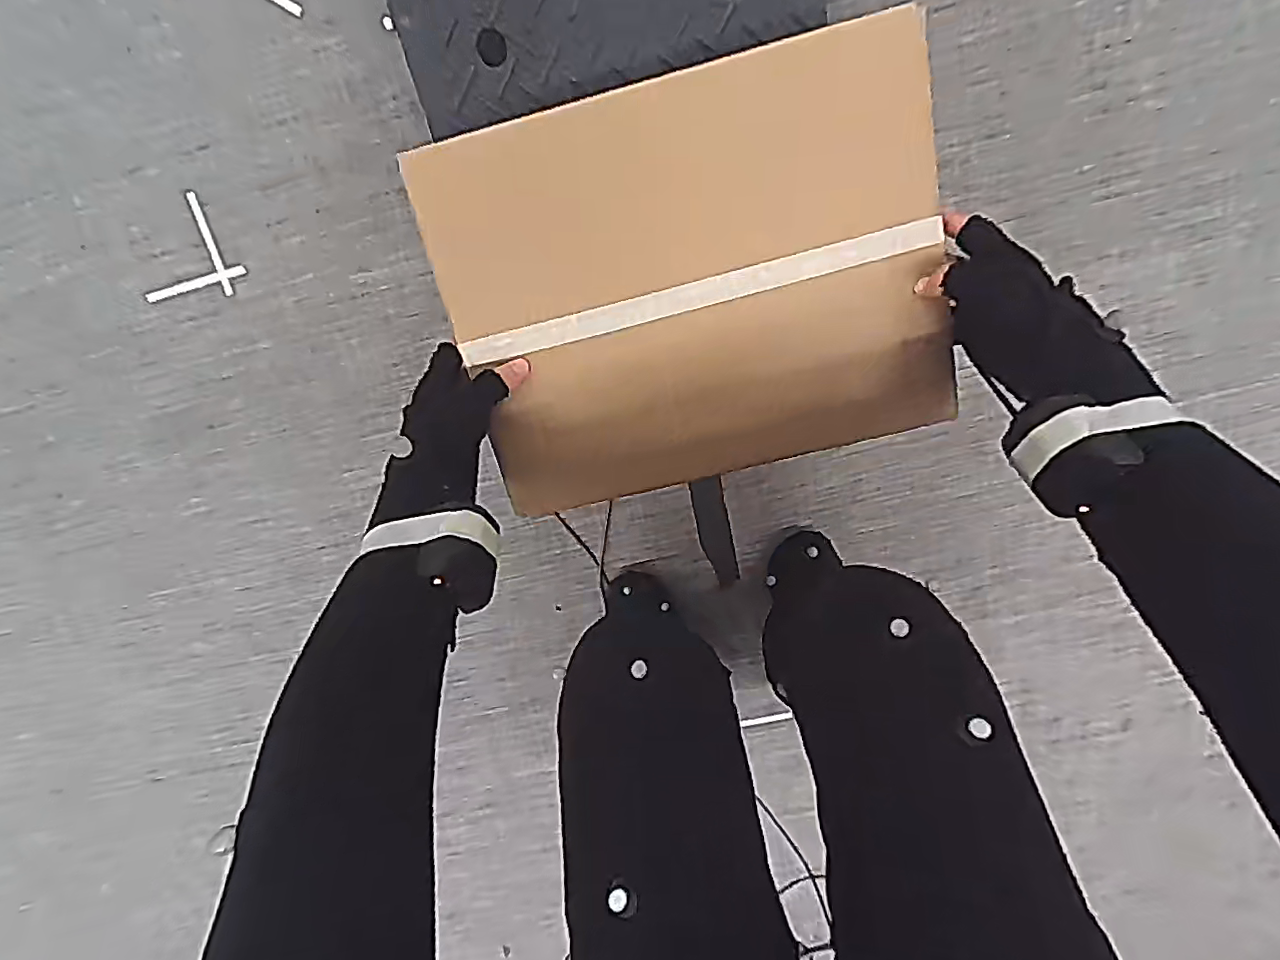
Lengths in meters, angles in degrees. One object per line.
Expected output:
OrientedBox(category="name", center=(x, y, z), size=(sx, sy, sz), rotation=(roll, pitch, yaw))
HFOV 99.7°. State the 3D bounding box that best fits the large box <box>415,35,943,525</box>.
OrientedBox(category="large box", center=(0.048, -0.189, 0.604), size=(0.408, 0.320, 0.320), rotation=(-14, 105, 5))
